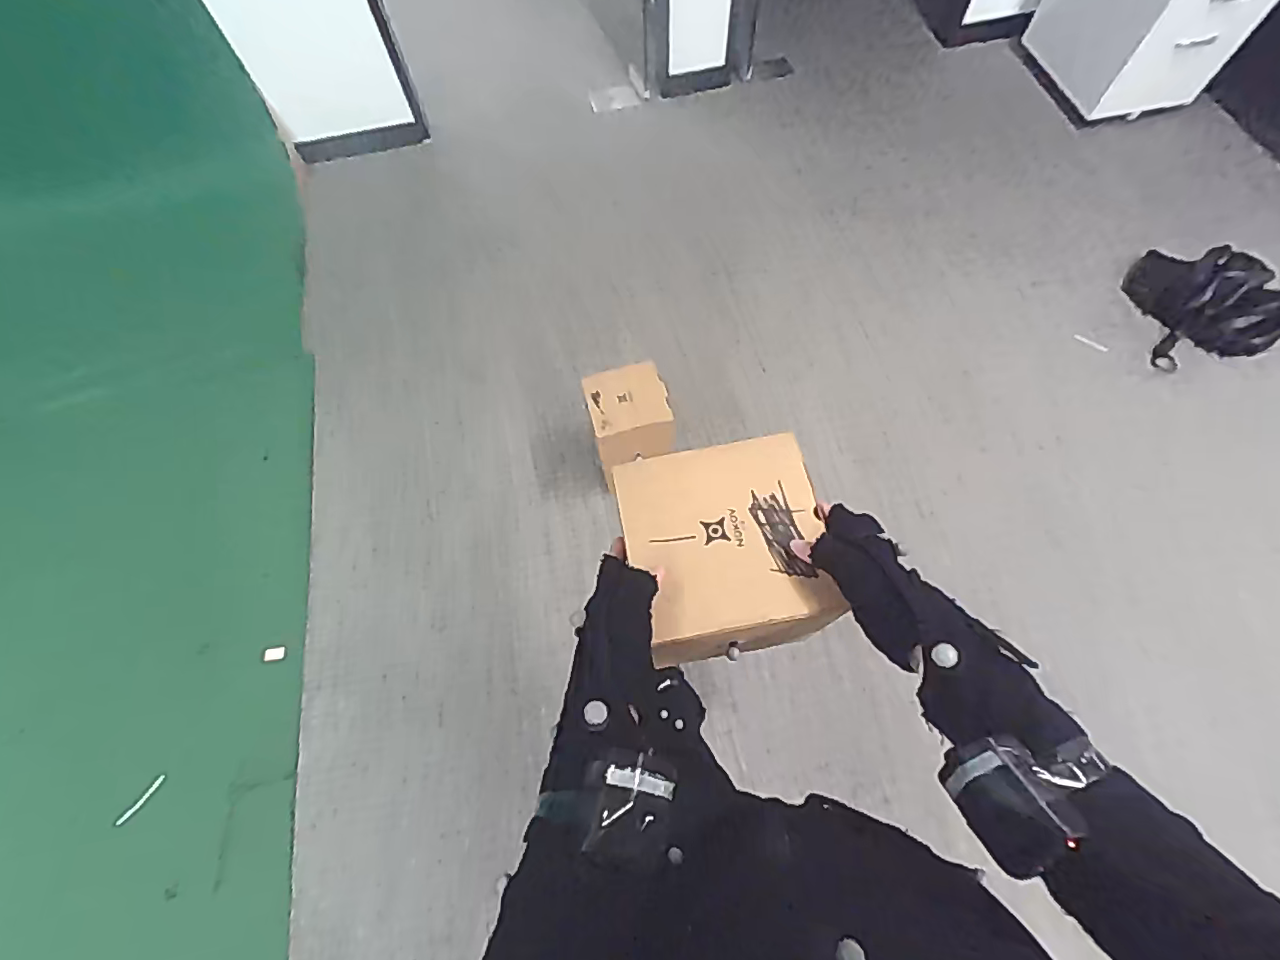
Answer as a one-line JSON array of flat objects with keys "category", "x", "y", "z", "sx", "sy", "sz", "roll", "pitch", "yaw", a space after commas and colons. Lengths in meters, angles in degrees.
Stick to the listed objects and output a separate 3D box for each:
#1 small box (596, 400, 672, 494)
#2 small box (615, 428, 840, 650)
[{"category": "small box", "x": -0.008, "y": -0.083, "z": 1.430, "sx": 0.179, "sy": 0.176, "sz": 0.168, "roll": -14, "pitch": 65, "yaw": -2}, {"category": "small box", "x": 0.073, "y": 0.067, "z": 0.544, "sx": 0.179, "sy": 0.176, "sz": 0.168, "roll": -7, "pitch": 63, "yaw": -1}]
